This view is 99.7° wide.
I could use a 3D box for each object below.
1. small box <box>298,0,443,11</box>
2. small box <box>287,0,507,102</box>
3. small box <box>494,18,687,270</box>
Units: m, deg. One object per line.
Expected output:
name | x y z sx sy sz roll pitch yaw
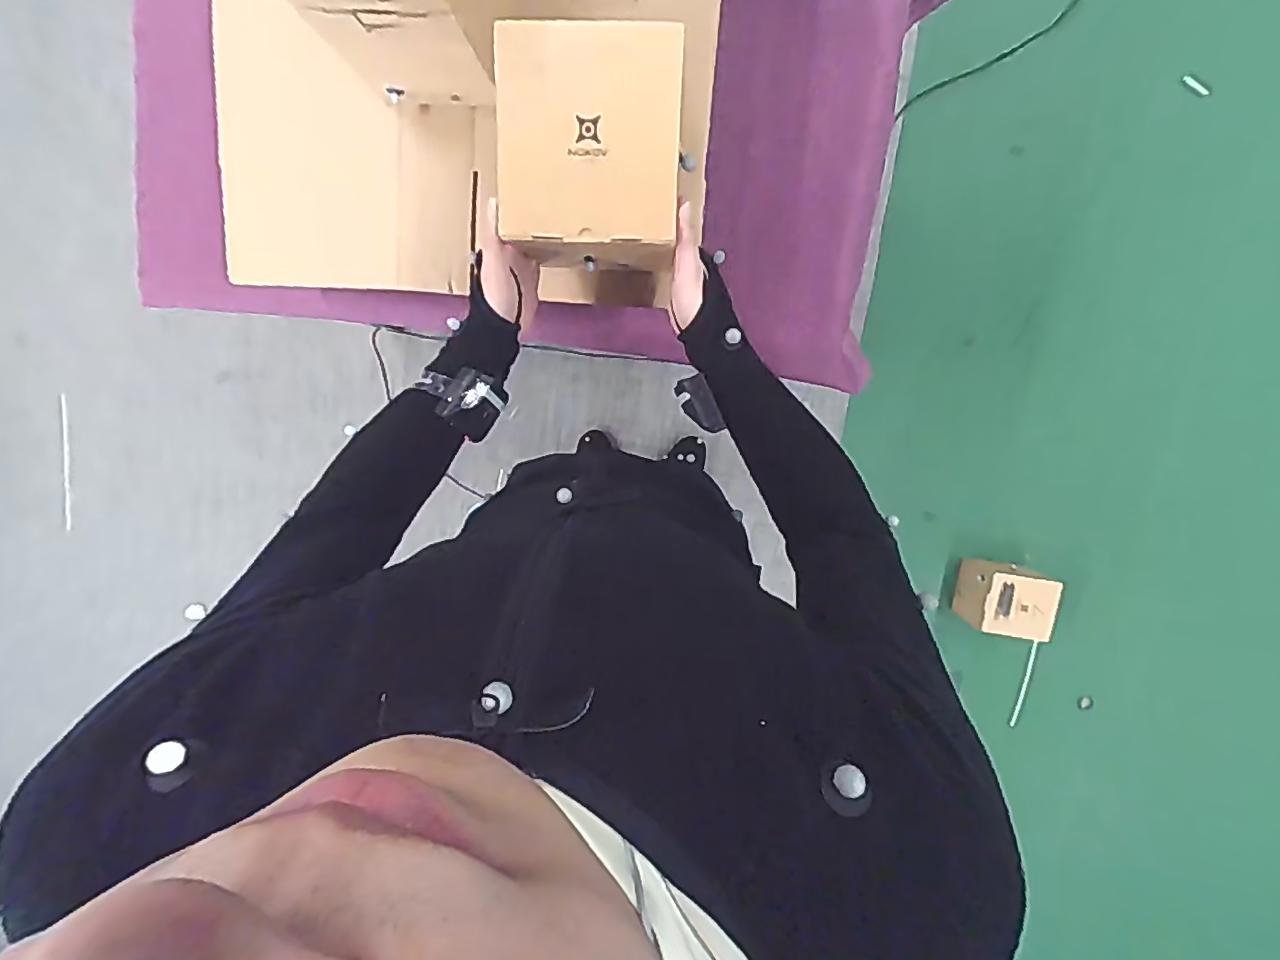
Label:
small box | -0.258 -0.524 0.420 0.168 0.176 0.179 5 99 3
small box | -0.247 -0.544 0.582 0.168 0.176 0.179 5 98 2
small box | -0.043 -0.321 0.551 0.168 0.176 0.179 3 105 2
